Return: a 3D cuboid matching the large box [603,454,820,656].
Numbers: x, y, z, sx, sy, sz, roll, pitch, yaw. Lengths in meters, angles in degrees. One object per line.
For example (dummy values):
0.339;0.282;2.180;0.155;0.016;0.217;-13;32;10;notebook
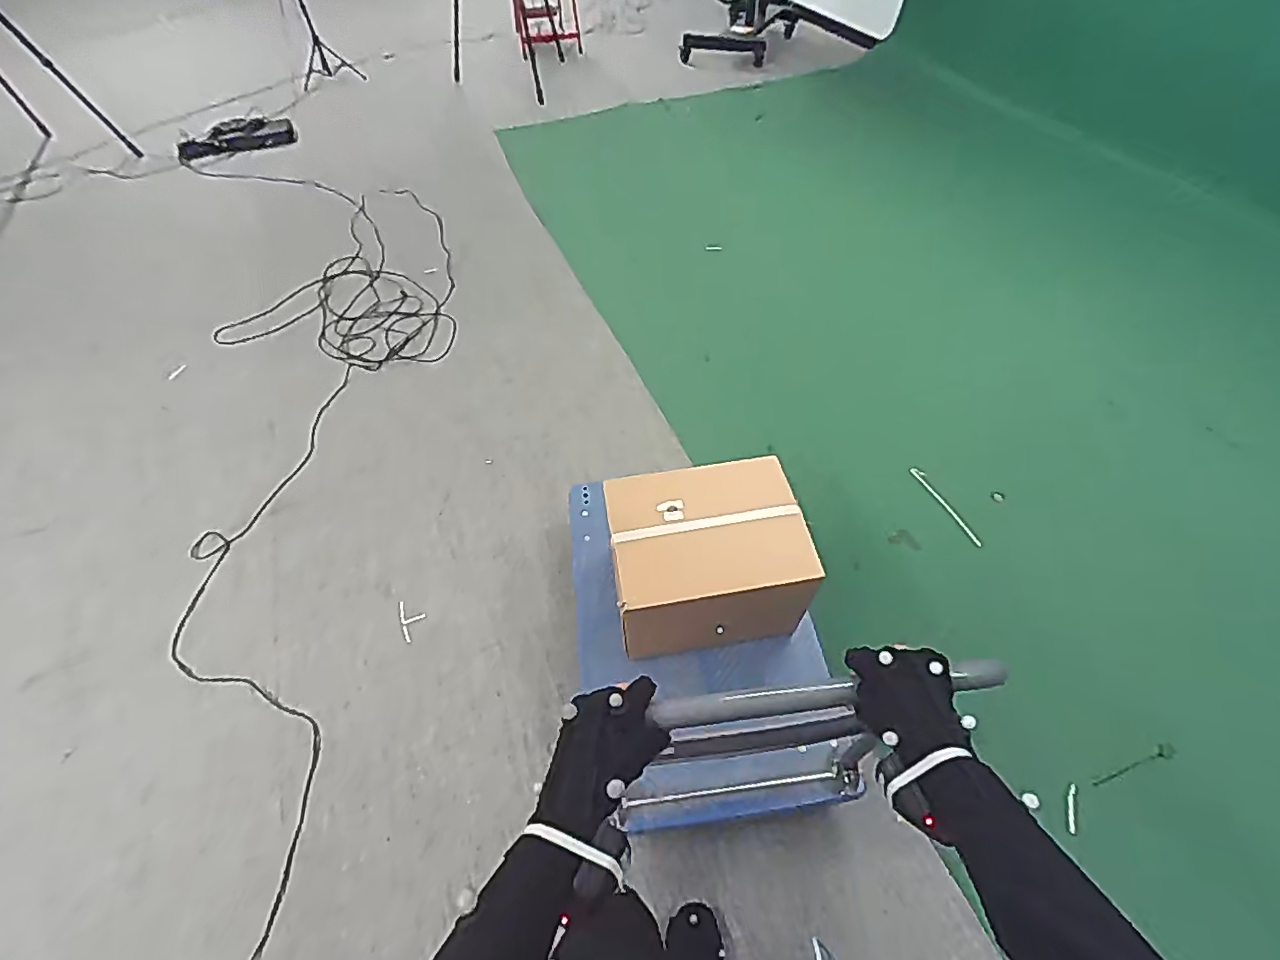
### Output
0.144;0.181;1.259;0.408;0.320;0.320;-10;54;-4;large box
